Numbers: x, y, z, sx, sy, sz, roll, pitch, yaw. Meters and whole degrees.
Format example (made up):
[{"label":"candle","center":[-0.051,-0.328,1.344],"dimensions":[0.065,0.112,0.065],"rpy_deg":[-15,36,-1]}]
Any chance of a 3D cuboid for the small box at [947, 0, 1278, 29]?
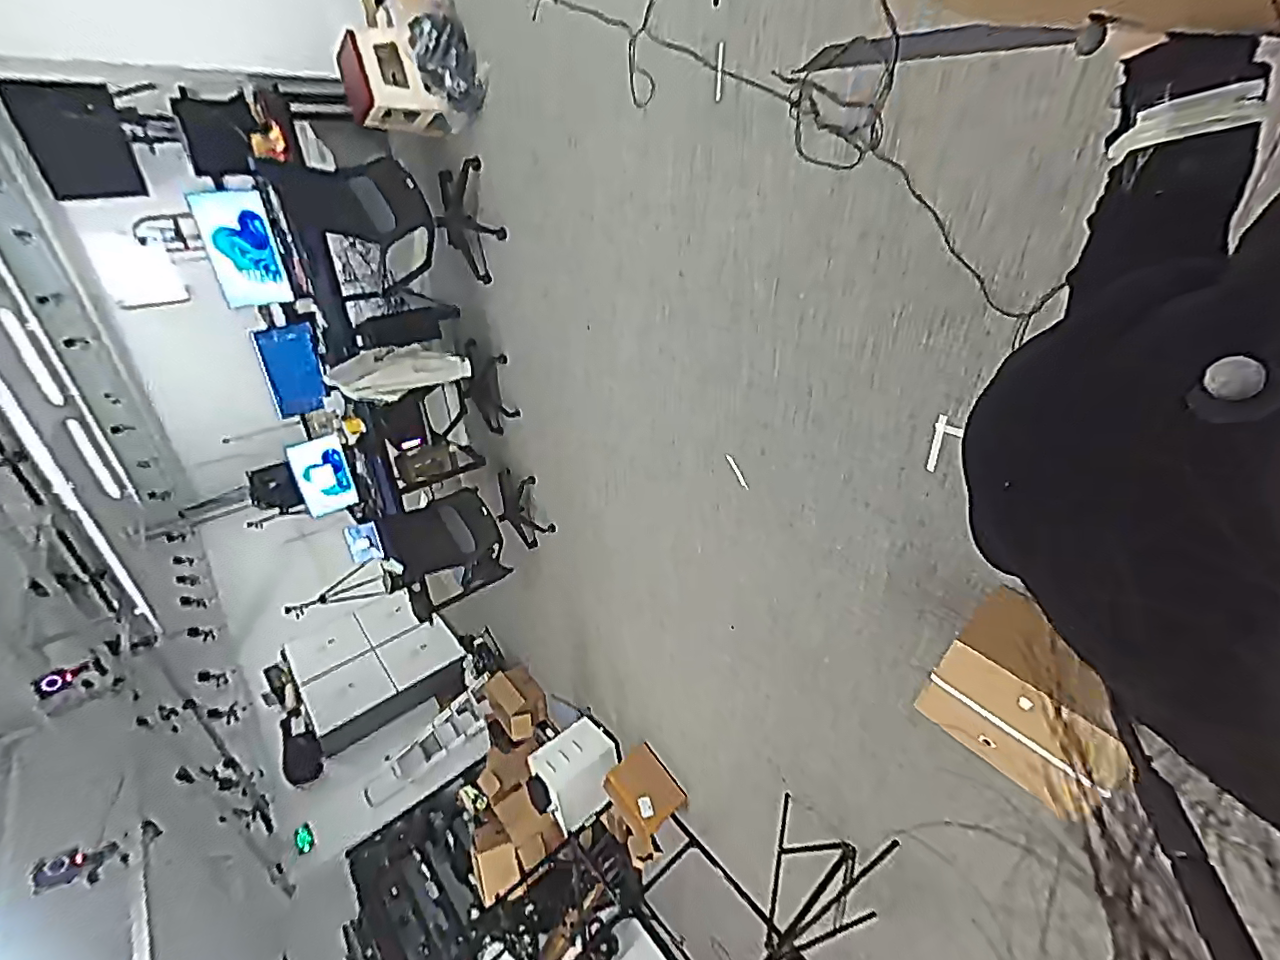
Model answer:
[{"label":"small box","center":[0.256,-0.336,0.258],"dimensions":[0.179,0.176,0.168],"rpy_deg":[39,136,34]}]
